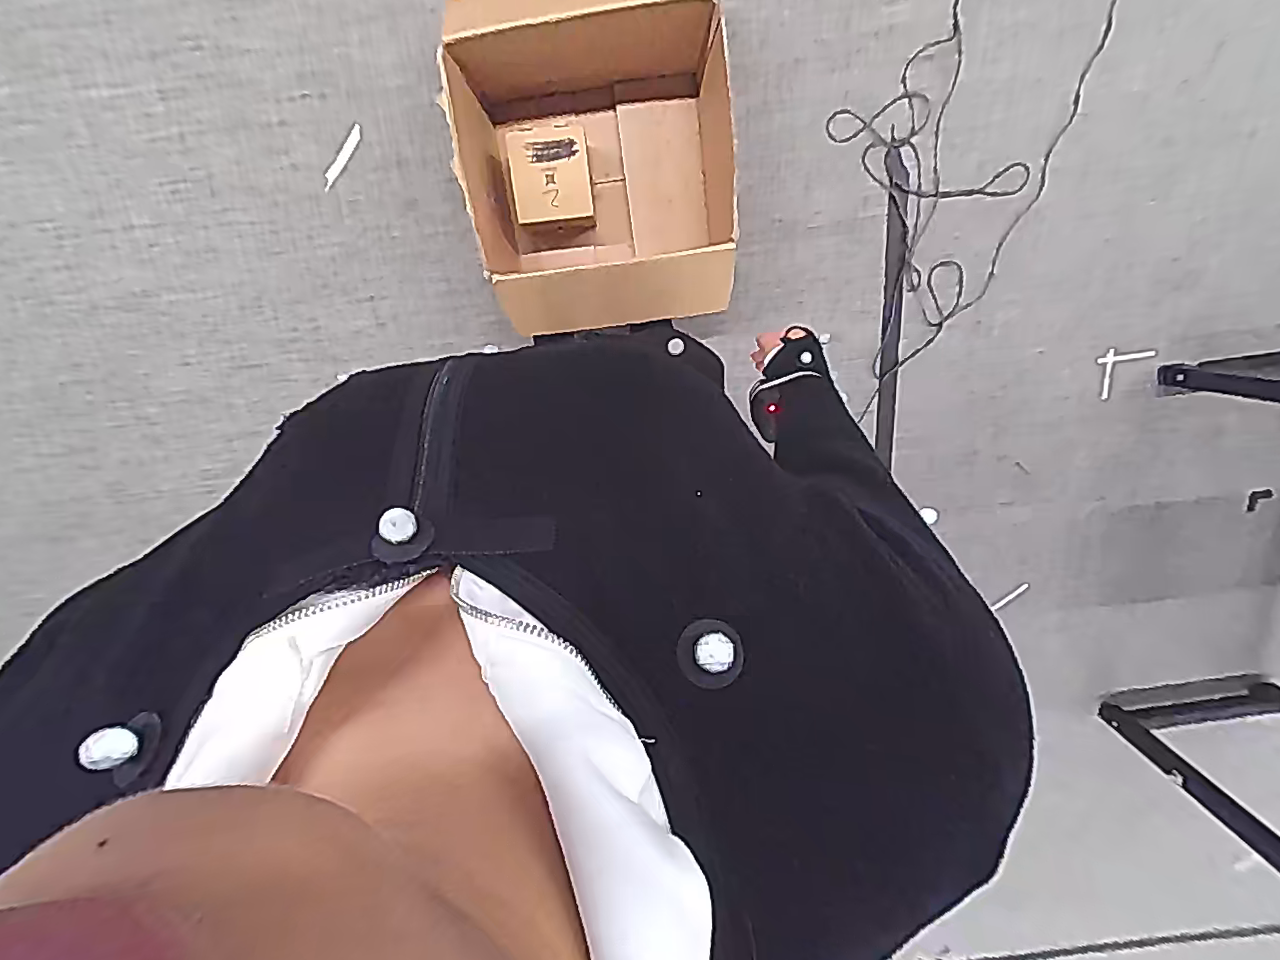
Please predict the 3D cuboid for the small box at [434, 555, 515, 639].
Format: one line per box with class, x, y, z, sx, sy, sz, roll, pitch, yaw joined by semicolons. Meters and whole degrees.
small box;-0.445;0.315;1.485;0.179;0.176;0.168;-3;109;-3
